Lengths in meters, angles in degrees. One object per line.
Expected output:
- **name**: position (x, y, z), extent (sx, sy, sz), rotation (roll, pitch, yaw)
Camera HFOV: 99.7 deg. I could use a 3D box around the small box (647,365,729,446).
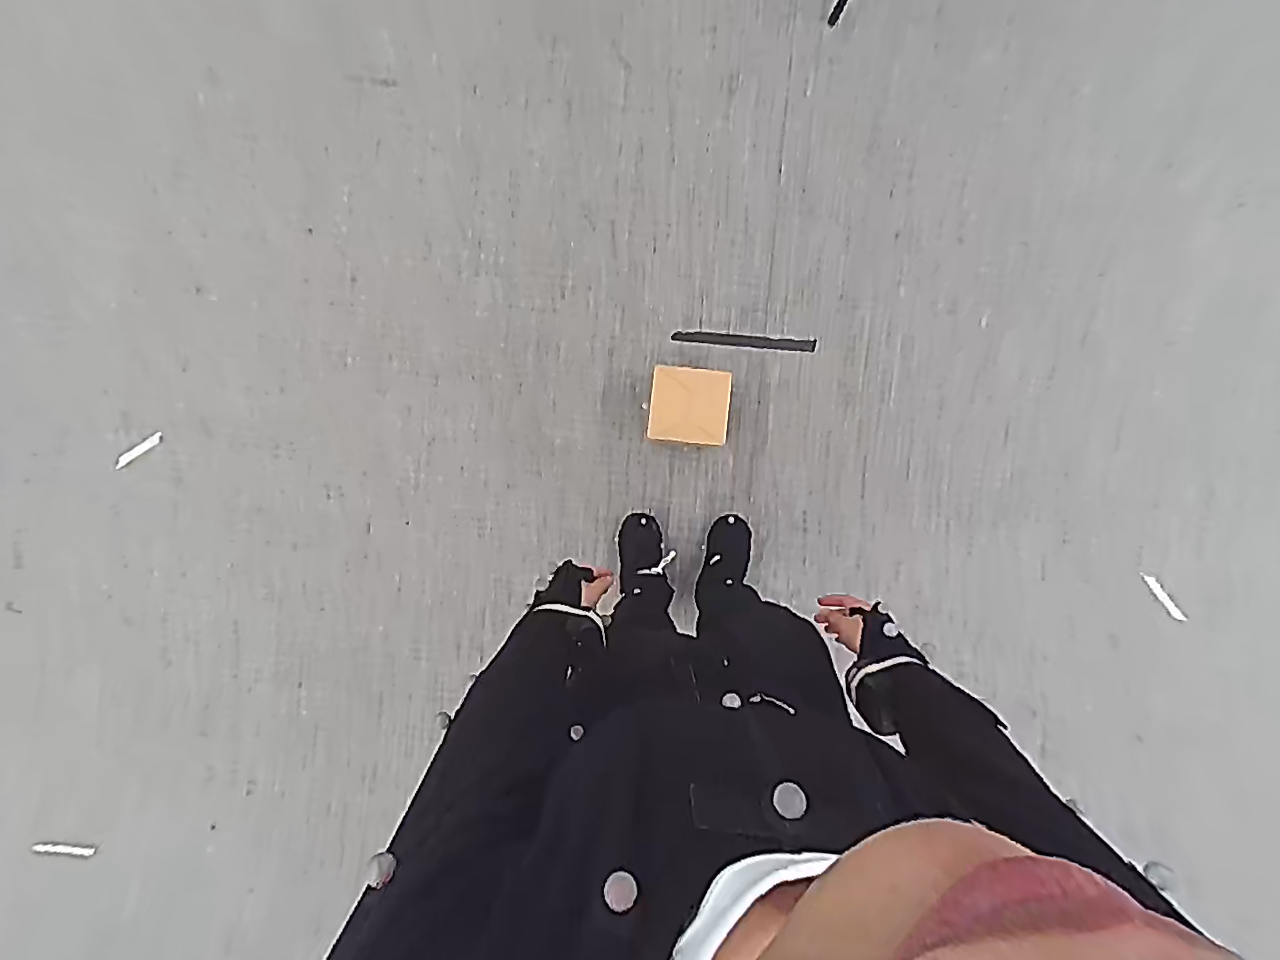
- **small box**: position (0.110, -0.170, 1.276), extent (0.179, 0.176, 0.168), rotation (6, 91, -1)
